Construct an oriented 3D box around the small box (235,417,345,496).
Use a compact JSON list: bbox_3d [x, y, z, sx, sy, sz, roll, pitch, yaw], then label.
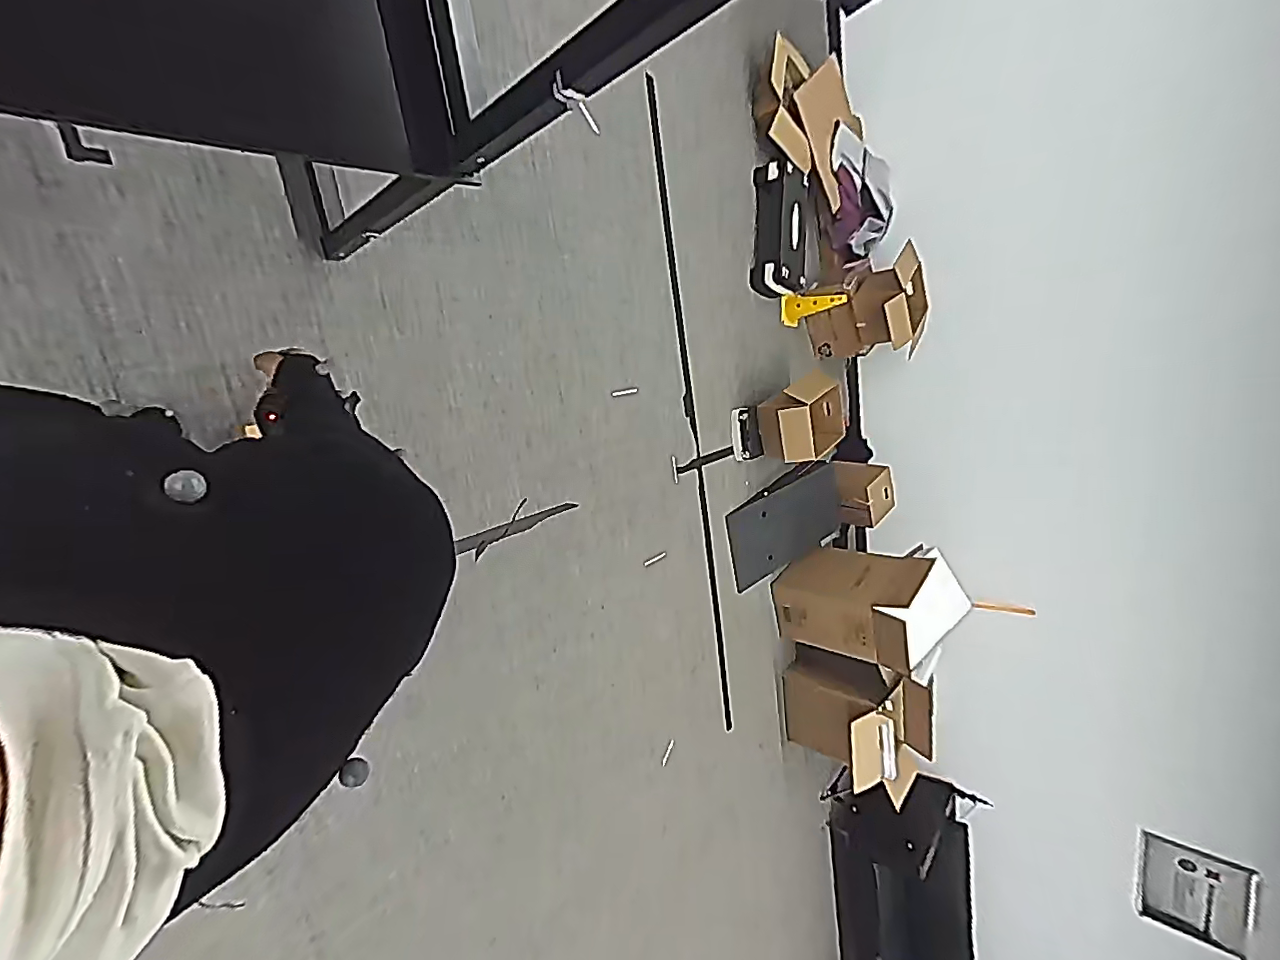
[{"bbox_3d":[-0.894,-0.066,1.380,0.179,0.176,0.168,-22,109,-43],"label":"small box"}]
